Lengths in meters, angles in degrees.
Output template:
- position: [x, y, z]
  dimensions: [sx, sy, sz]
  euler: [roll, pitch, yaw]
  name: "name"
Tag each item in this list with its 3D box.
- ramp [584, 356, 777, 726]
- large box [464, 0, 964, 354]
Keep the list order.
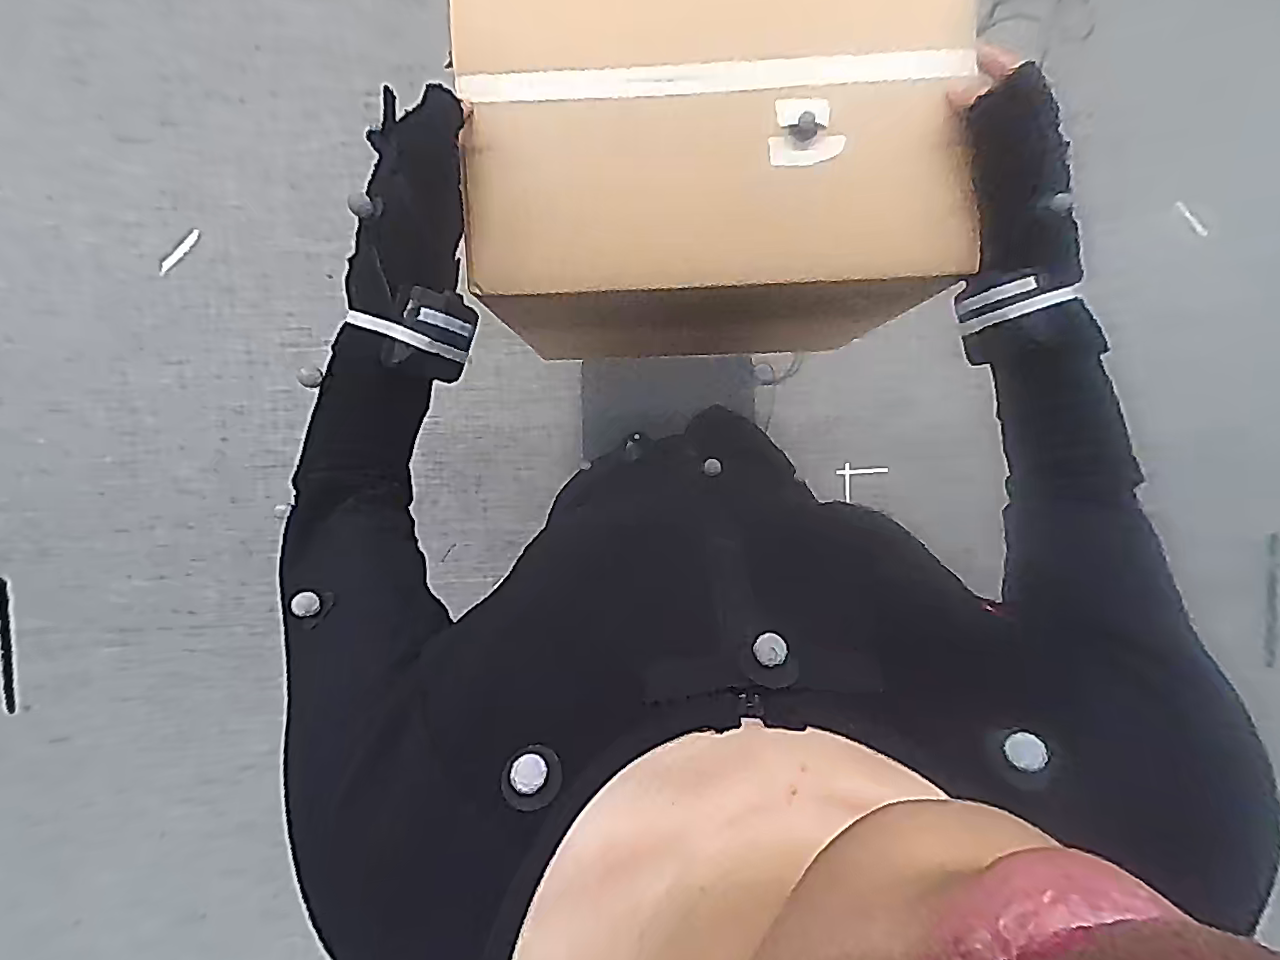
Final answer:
- position: [0.096, 0.142, 1.488]
  dimensions: [0.509, 0.206, 0.991]
  euler: [-4, 91, 1]
  name: "ramp"
- position: [0.058, -0.328, 0.584]
  dimensions: [0.408, 0.320, 0.320]
  euler: [-2, 93, 0]
  name: "large box"
